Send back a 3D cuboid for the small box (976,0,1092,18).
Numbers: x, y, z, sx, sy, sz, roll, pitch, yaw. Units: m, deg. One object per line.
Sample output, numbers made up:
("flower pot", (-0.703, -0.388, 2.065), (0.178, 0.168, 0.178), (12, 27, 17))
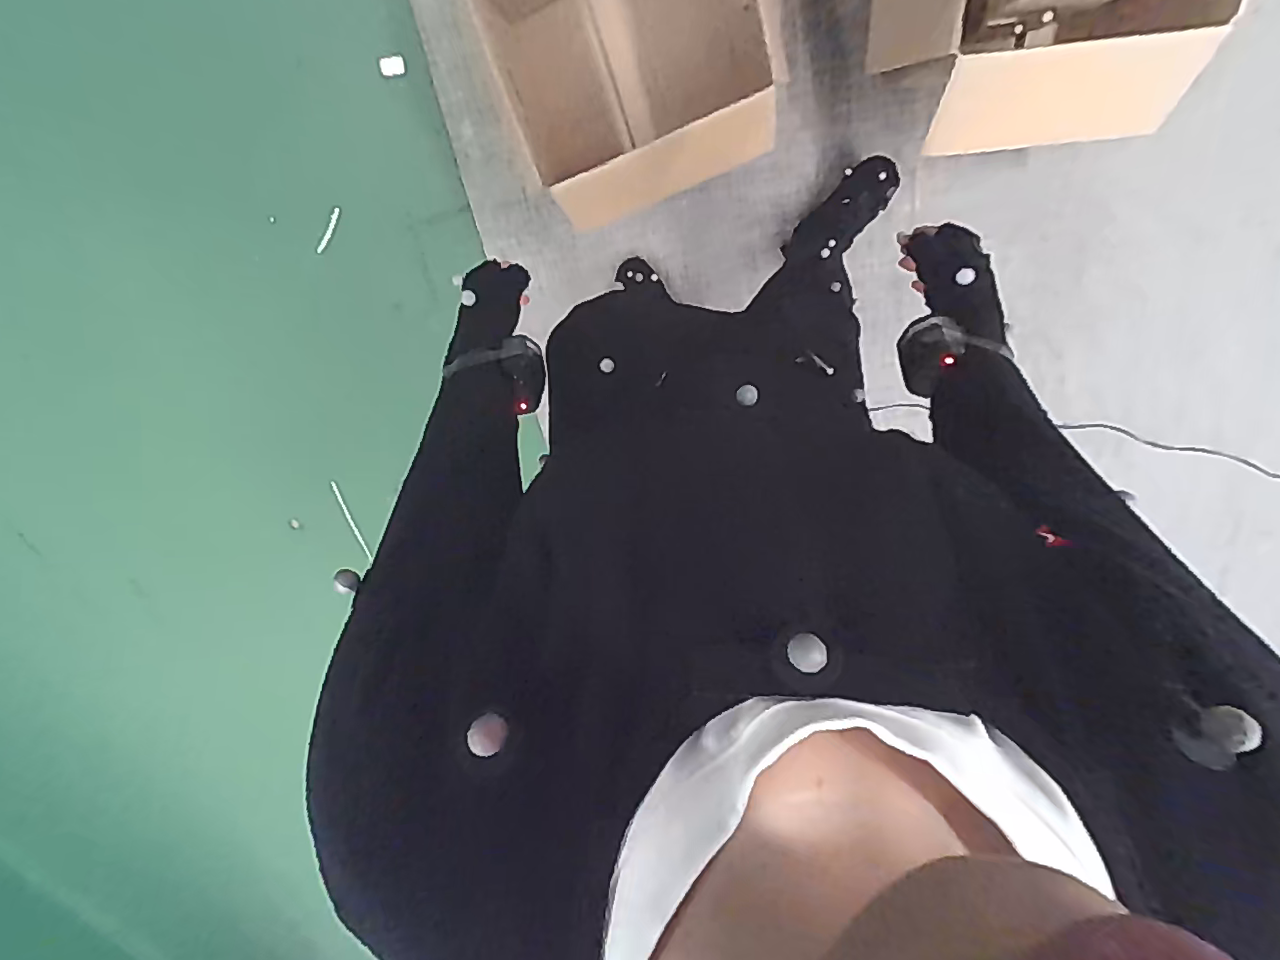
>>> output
("small box", (0.631, -0.804, 0.784), (0.179, 0.176, 0.168), (-3, 117, 6))
